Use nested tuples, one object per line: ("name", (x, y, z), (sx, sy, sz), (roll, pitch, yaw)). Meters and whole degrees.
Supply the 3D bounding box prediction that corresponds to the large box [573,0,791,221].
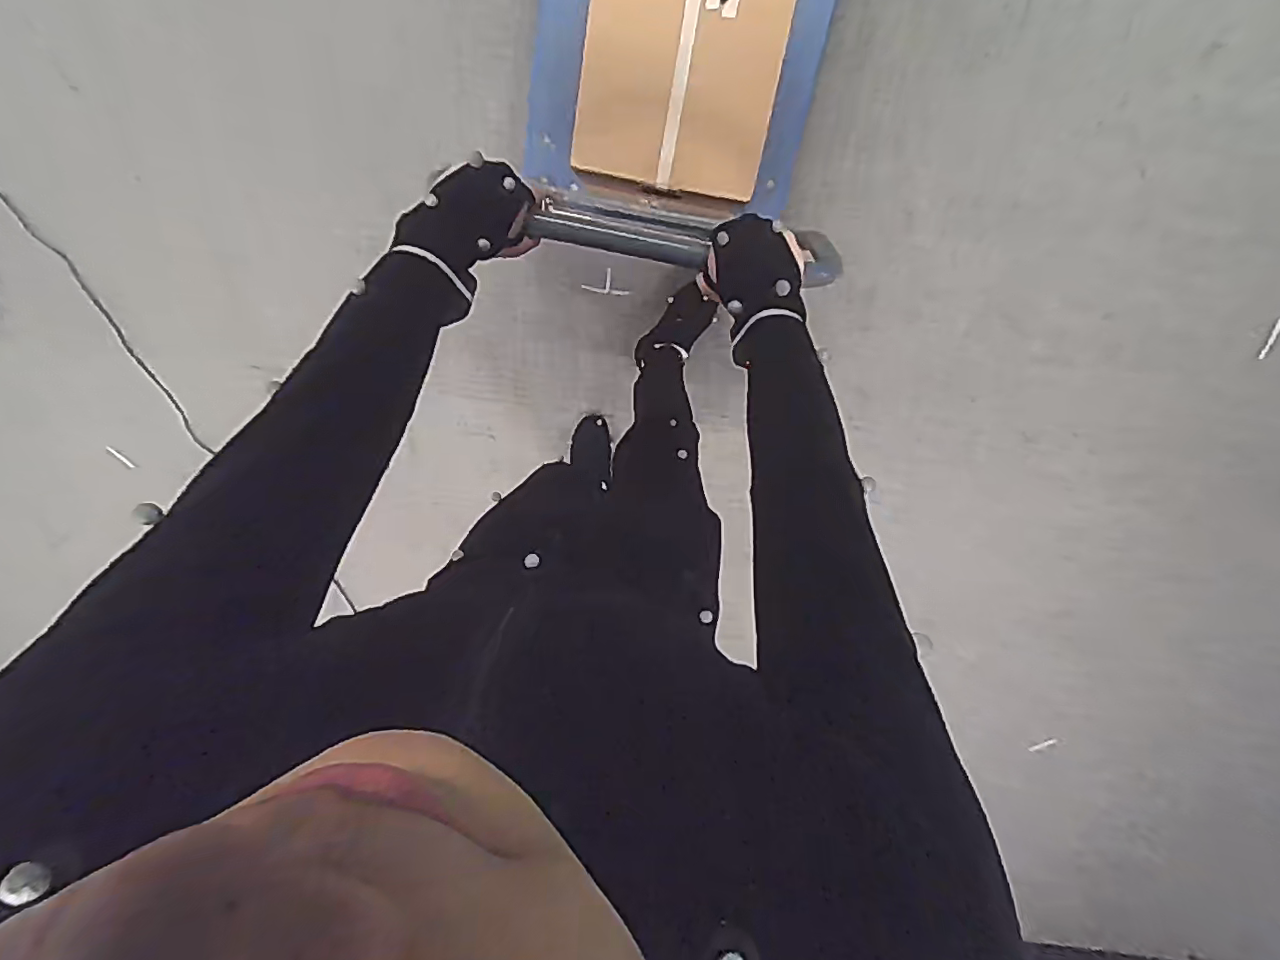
("large box", (0.072, -0.734, 0.994), (0.320, 0.320, 0.408), (10, 109, -2))
